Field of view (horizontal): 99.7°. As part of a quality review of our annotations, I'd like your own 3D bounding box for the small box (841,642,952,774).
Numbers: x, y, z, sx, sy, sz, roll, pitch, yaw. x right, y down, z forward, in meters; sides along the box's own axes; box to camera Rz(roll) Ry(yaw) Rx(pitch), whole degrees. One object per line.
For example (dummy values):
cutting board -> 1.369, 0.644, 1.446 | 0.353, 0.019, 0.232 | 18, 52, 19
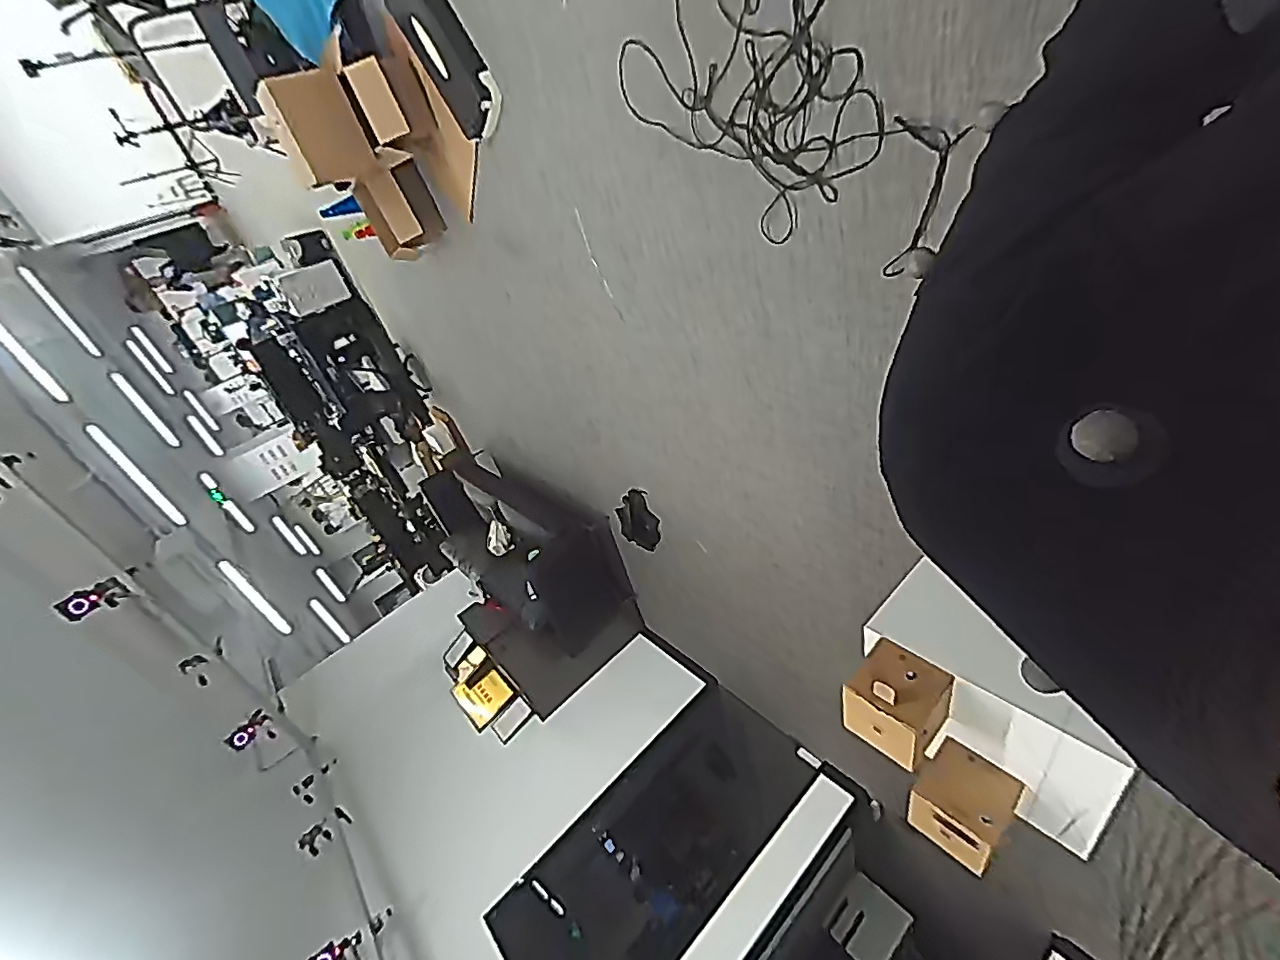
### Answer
small box -> 0.574, 0.505, 1.213 | 0.168, 0.176, 0.179 | 26, 143, 44
